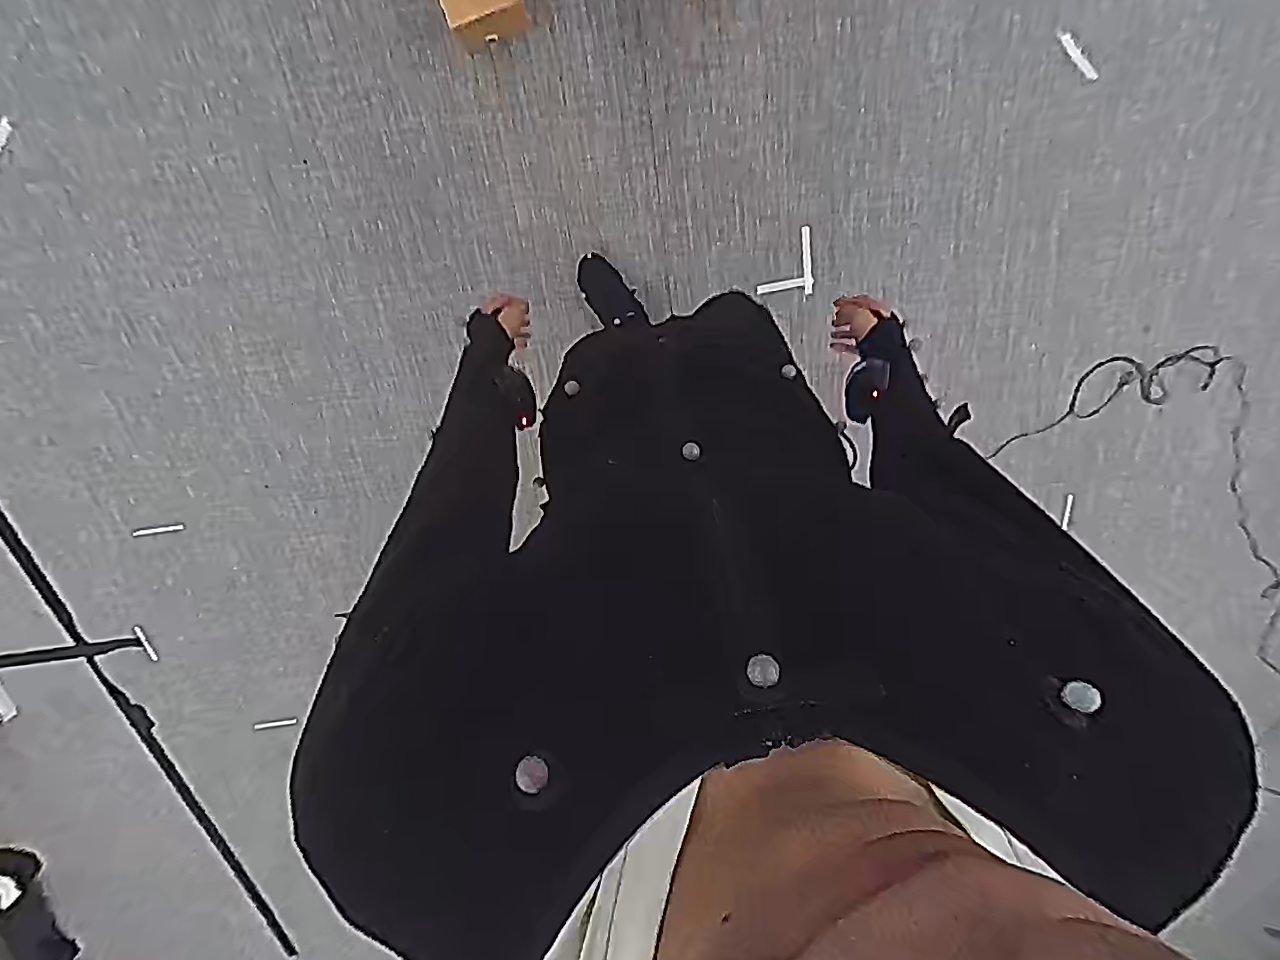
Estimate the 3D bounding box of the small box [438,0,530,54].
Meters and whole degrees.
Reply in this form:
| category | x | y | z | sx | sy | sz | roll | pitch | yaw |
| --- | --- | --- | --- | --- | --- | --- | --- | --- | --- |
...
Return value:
| category | x | y | z | sx | sy | sz | roll | pitch | yaw |
| --- | --- | --- | --- | --- | --- | --- | --- | --- | --- |
| small box | -0.346 | -1.054 | 1.142 | 0.168 | 0.176 | 0.179 | -18 | 112 | 4 |
